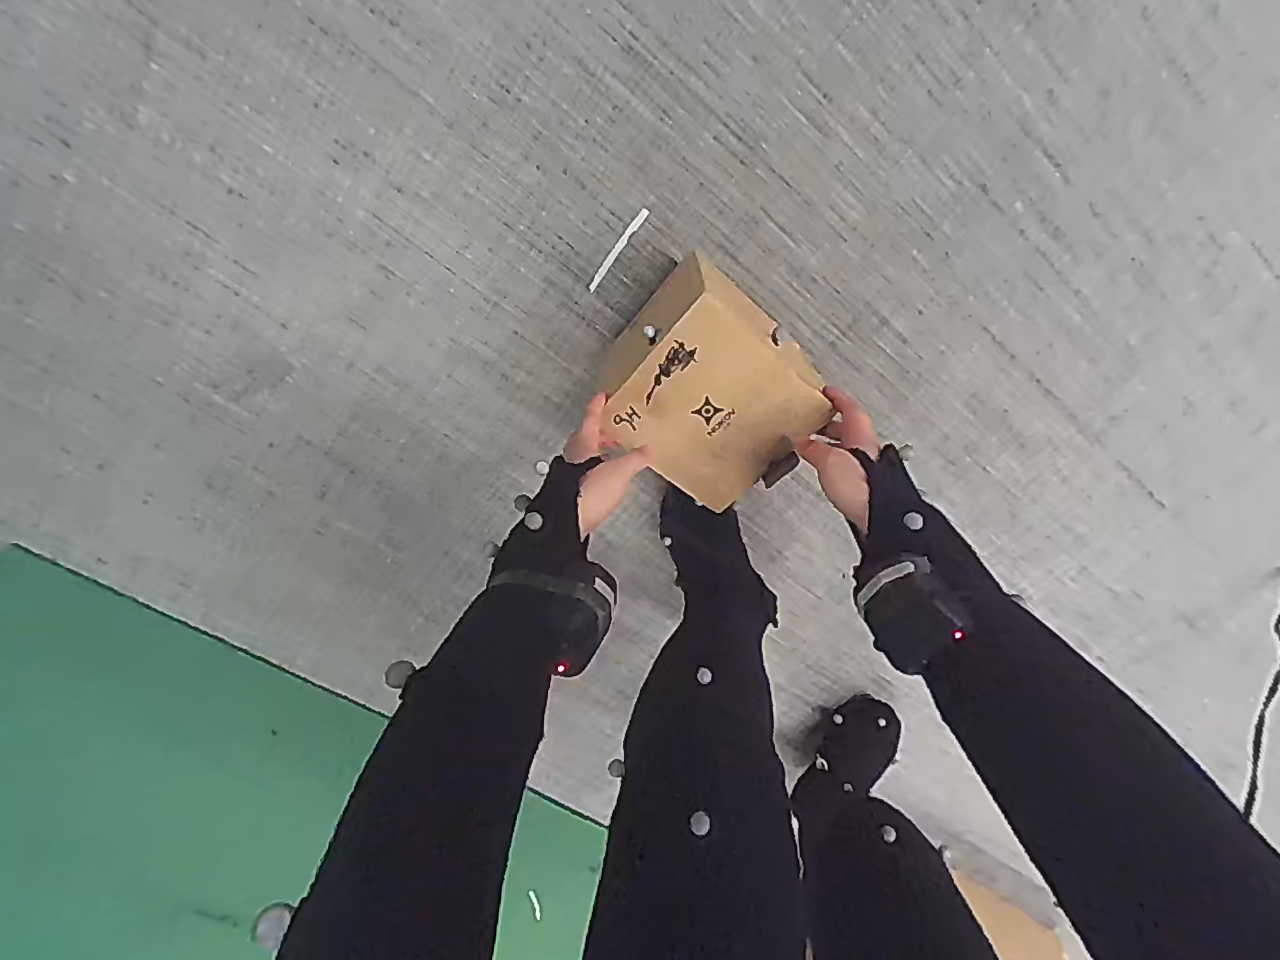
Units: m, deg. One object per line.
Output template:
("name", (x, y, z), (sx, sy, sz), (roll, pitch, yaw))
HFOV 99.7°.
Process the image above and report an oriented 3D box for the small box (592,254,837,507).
("small box", (0.071, -0.111, 0.577), (0.179, 0.176, 0.168), (34, 118, -21))
